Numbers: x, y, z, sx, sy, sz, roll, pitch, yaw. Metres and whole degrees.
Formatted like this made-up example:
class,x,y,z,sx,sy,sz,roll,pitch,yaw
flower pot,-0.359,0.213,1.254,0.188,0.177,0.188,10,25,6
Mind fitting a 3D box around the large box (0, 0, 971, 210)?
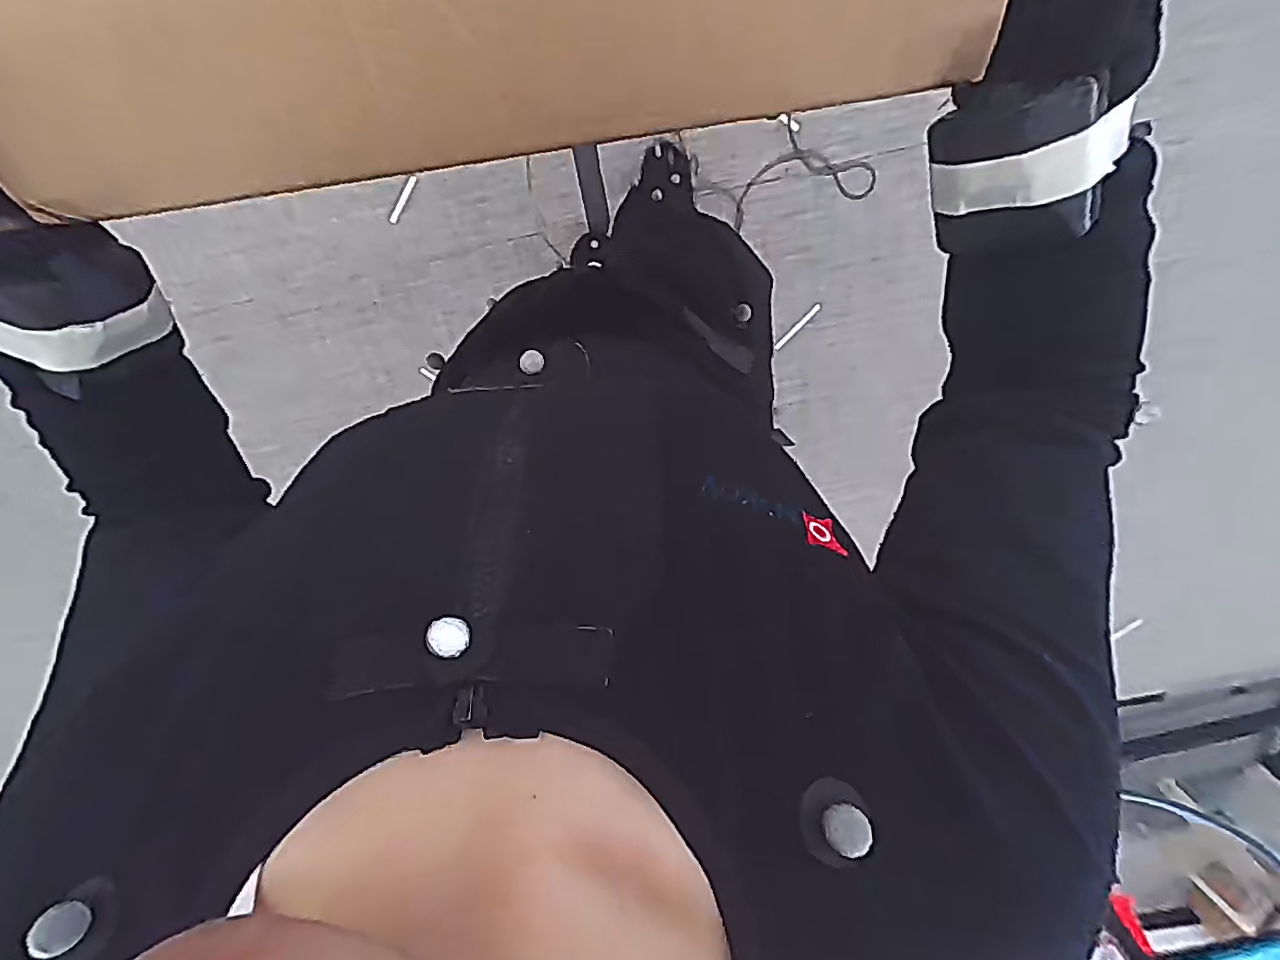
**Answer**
class,x,y,z,sx,sy,sz,roll,pitch,yaw
large box,-0.090,-0.359,0.222,0.408,0.320,0.320,-7,137,2
